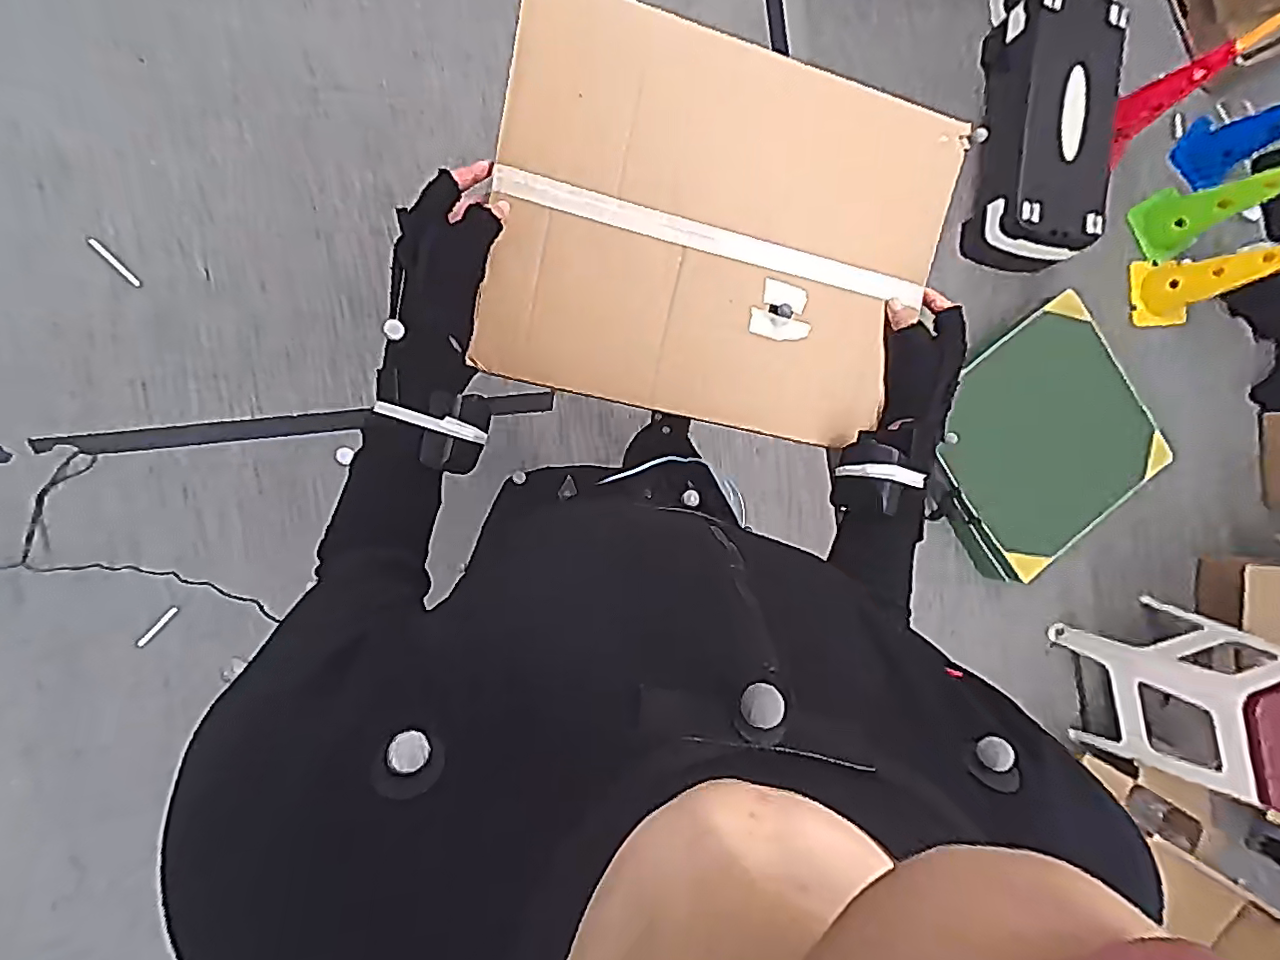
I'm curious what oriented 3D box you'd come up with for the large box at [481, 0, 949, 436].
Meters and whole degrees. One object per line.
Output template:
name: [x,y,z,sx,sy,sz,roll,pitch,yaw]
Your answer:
large box: [0.049,-0.255,0.644,0.408,0.320,0.320,11,101,-12]
